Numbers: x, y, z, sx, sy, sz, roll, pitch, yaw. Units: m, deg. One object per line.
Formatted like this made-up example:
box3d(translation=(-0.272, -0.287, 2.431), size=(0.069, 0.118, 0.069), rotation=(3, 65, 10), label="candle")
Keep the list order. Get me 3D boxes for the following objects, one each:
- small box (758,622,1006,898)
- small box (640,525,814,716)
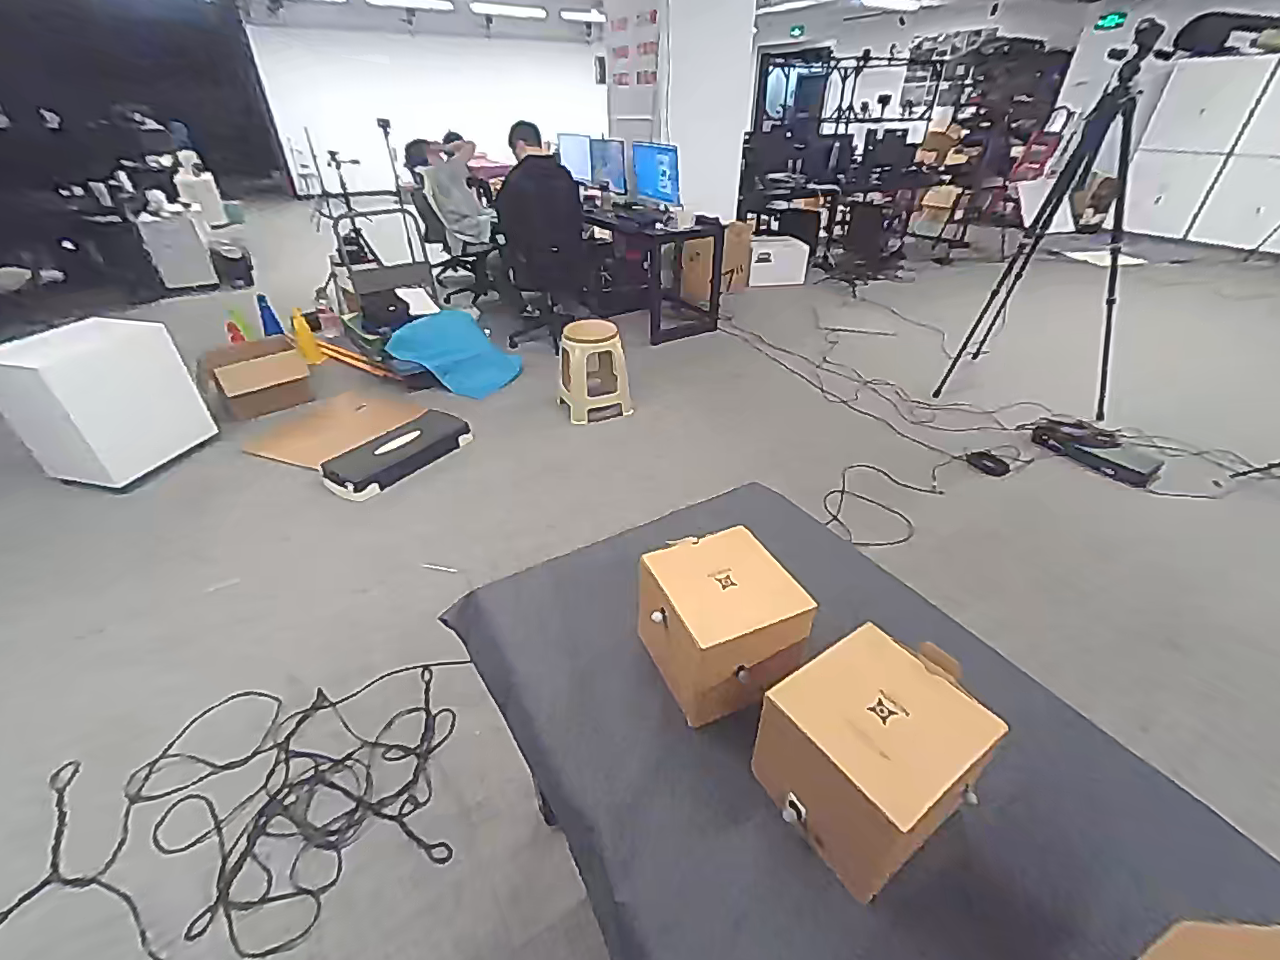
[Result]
box3d(translation=(0.249, 0.299, 0.596), size=(0.179, 0.176, 0.168), rotation=(-22, 39, -28), label="small box")
box3d(translation=(0.108, 0.195, 0.746), size=(0.168, 0.176, 0.179), rotation=(-14, 36, -20), label="small box")
